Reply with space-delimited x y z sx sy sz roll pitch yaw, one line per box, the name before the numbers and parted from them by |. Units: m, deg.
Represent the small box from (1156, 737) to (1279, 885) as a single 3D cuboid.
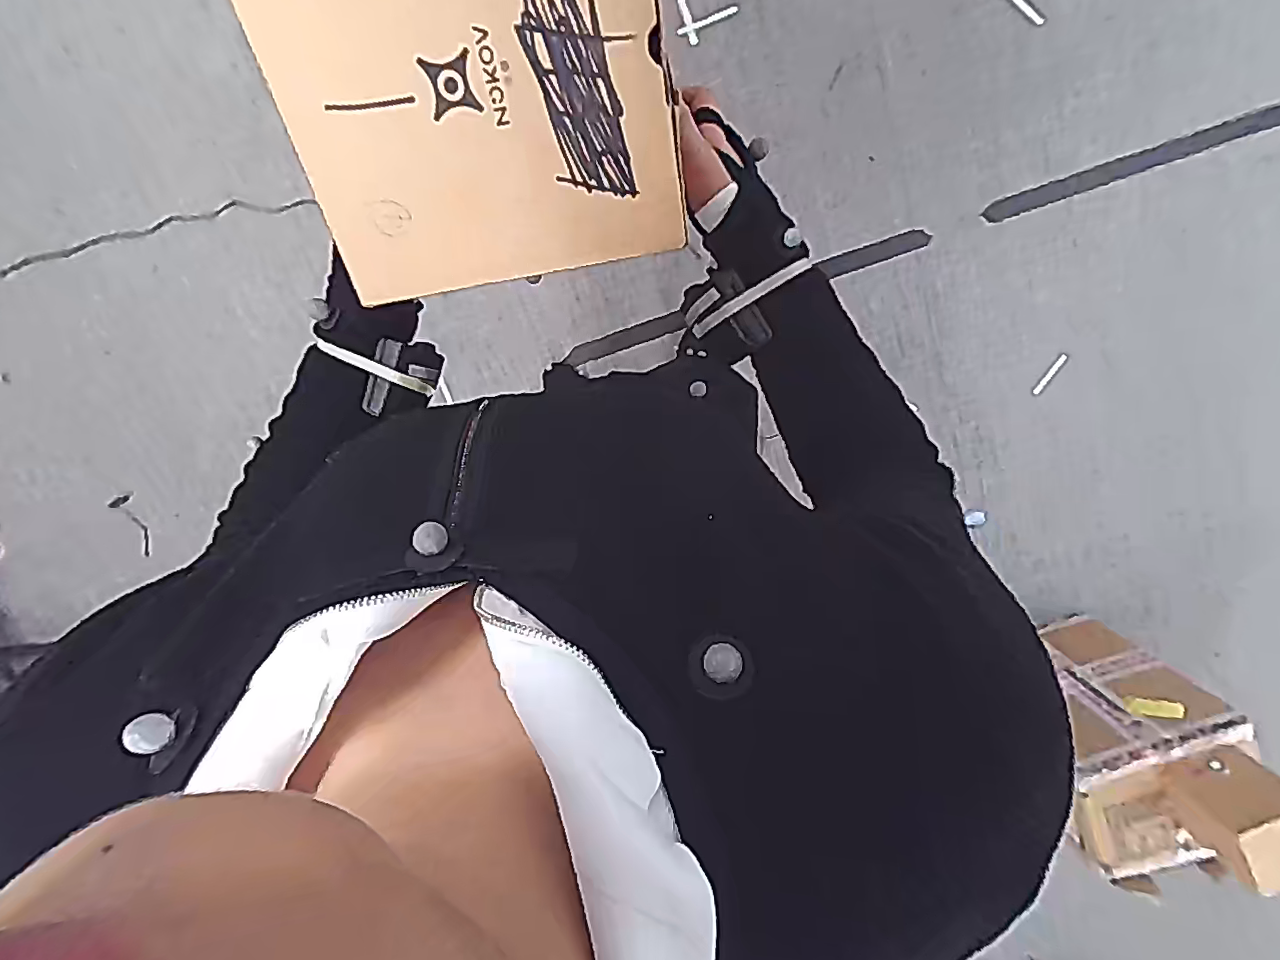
small box | 1.273 0.694 1.149 0.168 0.176 0.179 -30 100 7
